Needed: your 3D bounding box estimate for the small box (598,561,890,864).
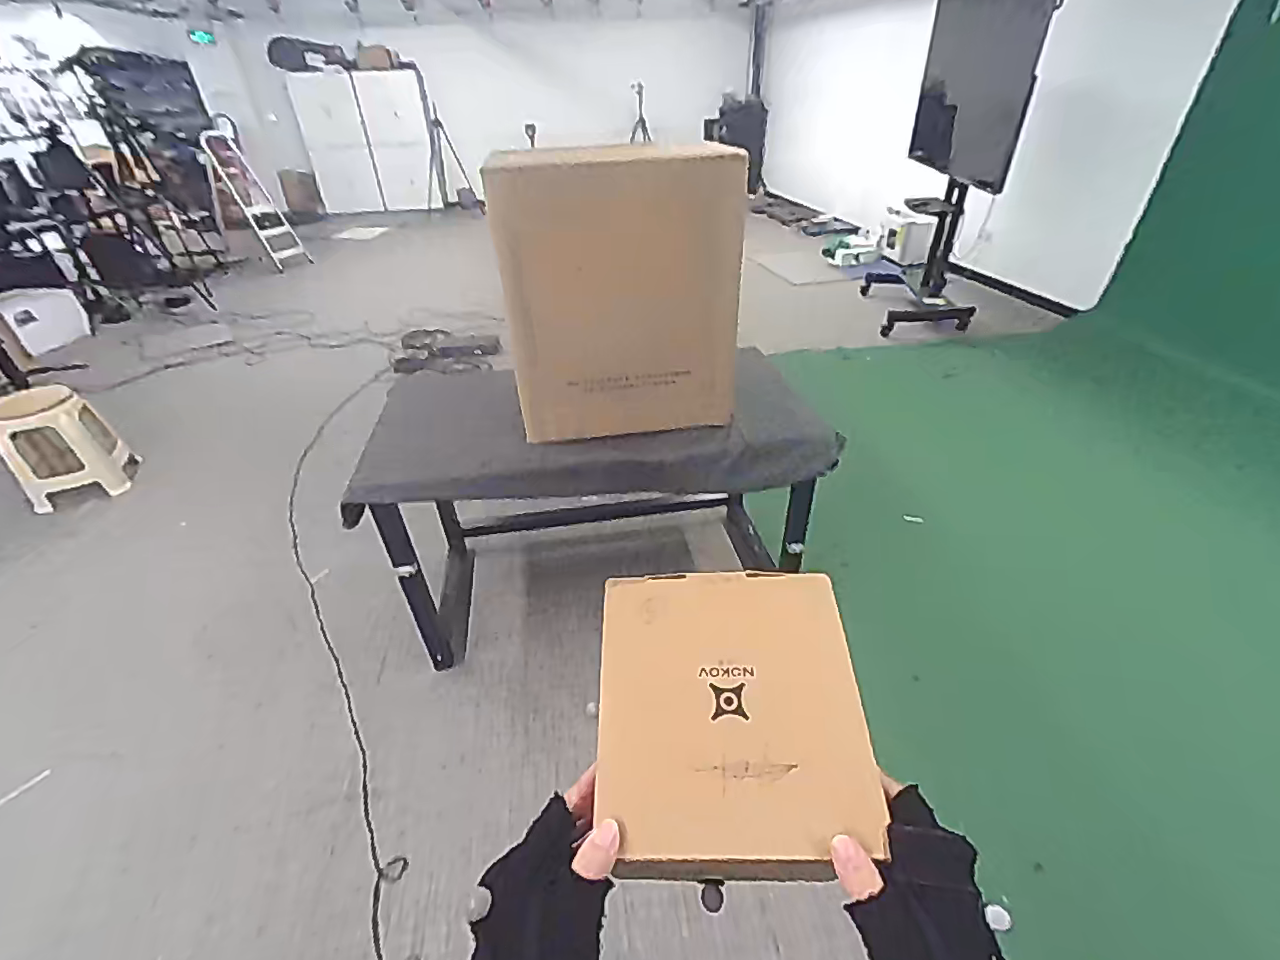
[{"bbox_3d":[0.062,0.180,0.415,0.168,0.176,0.179,-3,51,3],"label":"small box"}]
